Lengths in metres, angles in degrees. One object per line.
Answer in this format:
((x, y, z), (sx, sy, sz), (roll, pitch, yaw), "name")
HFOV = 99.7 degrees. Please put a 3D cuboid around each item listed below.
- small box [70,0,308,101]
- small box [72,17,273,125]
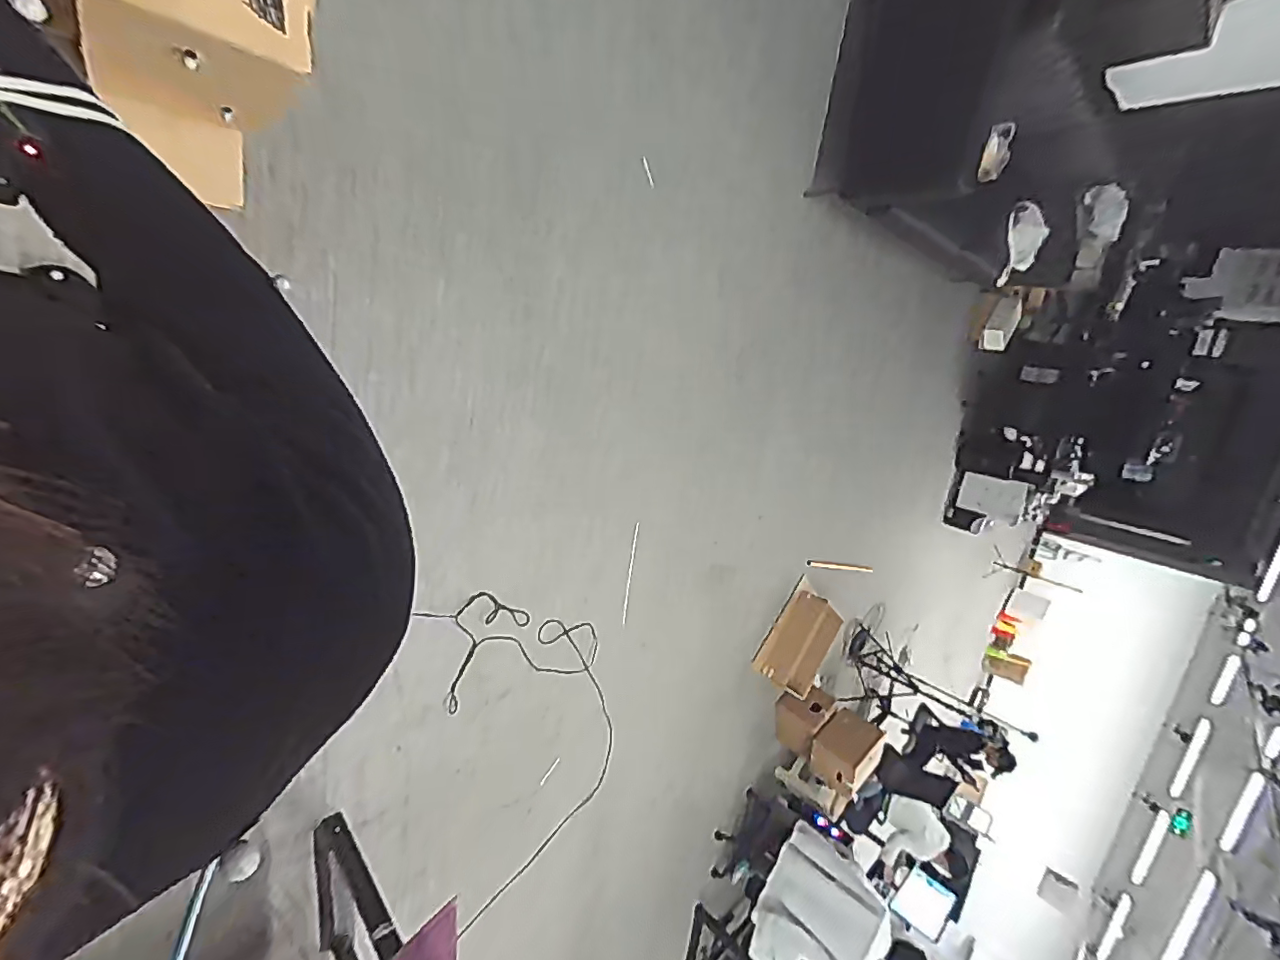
((-0.456, -0.517, 0.547), (0.179, 0.176, 0.168), (-3, 107, -43), "small box")
((-0.569, -0.560, 0.658), (0.179, 0.176, 0.168), (-5, 109, -43), "small box")
